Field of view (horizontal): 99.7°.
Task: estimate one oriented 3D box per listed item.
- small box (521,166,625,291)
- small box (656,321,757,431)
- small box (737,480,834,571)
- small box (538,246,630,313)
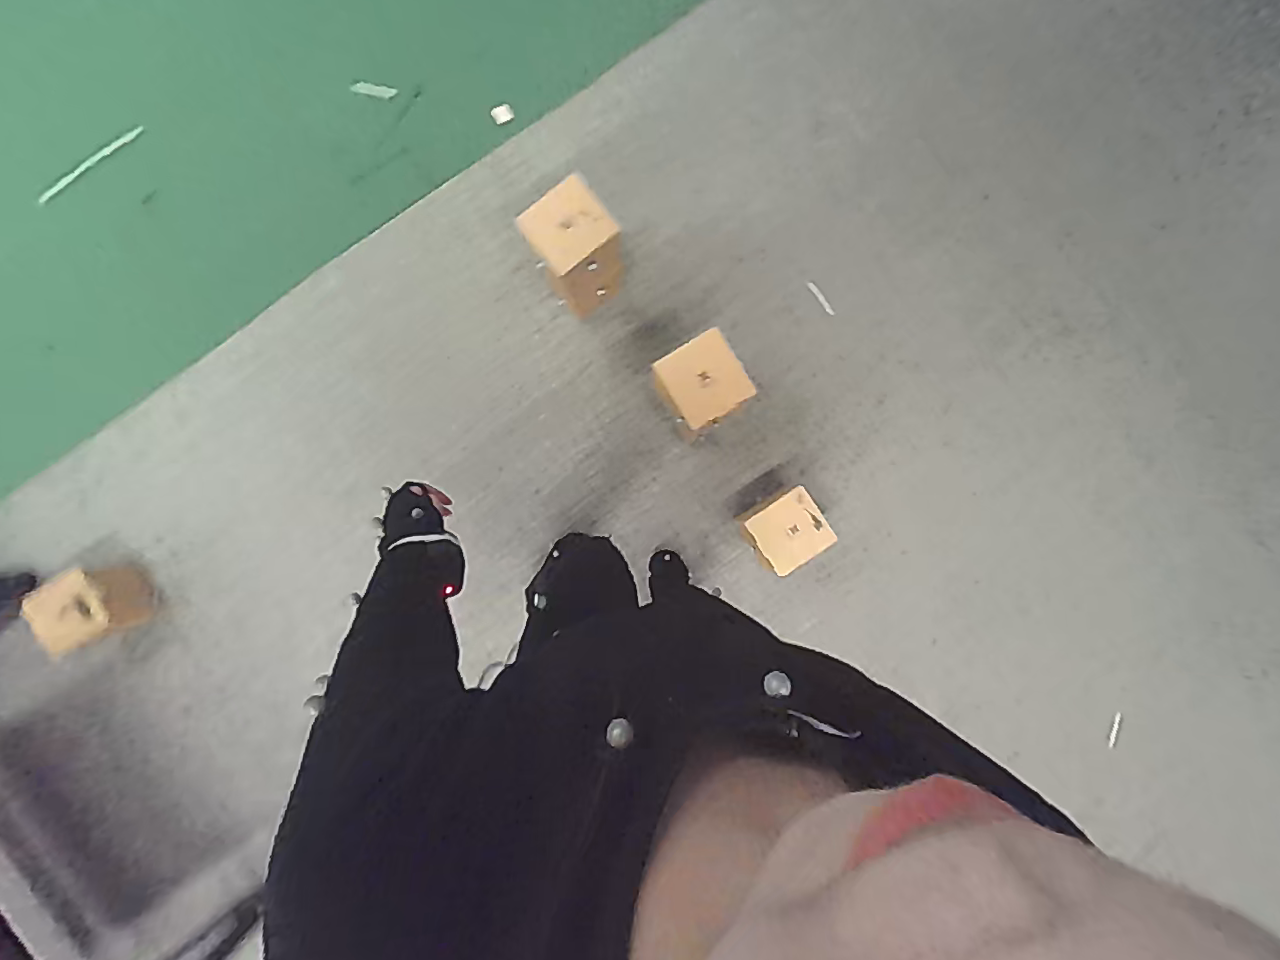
[{"bbox_3d":[-0.147,-0.578,1.271,0.179,0.176,0.168,-37,89,1],"label":"small box"},{"bbox_3d":[0.145,-0.232,1.257,0.168,0.176,0.179,-31,88,0],"label":"small box"},{"bbox_3d":[0.367,0.115,1.409,0.179,0.176,0.168,-32,89,1],"label":"small box"},{"bbox_3d":[-0.140,-0.576,1.435,0.179,0.176,0.168,-36,89,0],"label":"small box"}]
